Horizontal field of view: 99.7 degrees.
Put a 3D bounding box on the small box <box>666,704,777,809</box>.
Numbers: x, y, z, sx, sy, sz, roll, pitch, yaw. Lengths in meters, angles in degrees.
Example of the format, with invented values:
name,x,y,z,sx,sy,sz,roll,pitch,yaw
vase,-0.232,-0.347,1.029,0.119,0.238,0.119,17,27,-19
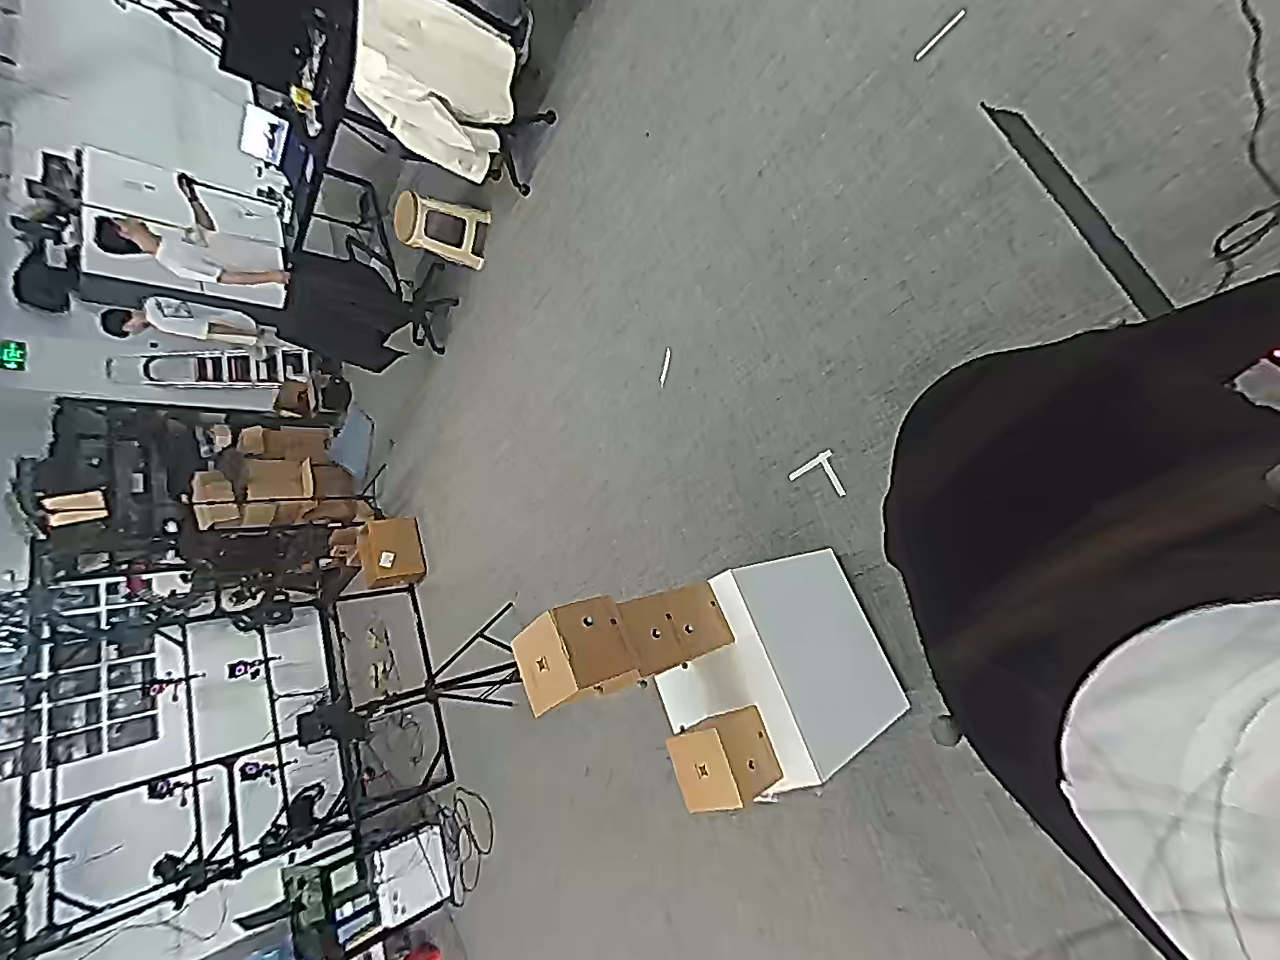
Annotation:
name,x,y,z,sx,sy,sz,roll,pitch,yaw
small box,0.197,0.645,1.271,0.179,0.176,0.168,-37,65,40

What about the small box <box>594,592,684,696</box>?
name,x,y,z,sx,sy,sz,roll,pitch,yaw
small box,-0.021,0.372,1.245,0.179,0.176,0.168,-39,65,39

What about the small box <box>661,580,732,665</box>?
name,x,y,z,sx,sy,sz,roll,pitch,yaw
small box,0.097,0.367,1.361,0.179,0.176,0.168,-40,65,39

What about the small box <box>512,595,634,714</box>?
name,x,y,z,sx,sy,sz,roll,pitch,yaw
small box,-0.134,0.358,1.128,0.179,0.176,0.168,-45,61,37
